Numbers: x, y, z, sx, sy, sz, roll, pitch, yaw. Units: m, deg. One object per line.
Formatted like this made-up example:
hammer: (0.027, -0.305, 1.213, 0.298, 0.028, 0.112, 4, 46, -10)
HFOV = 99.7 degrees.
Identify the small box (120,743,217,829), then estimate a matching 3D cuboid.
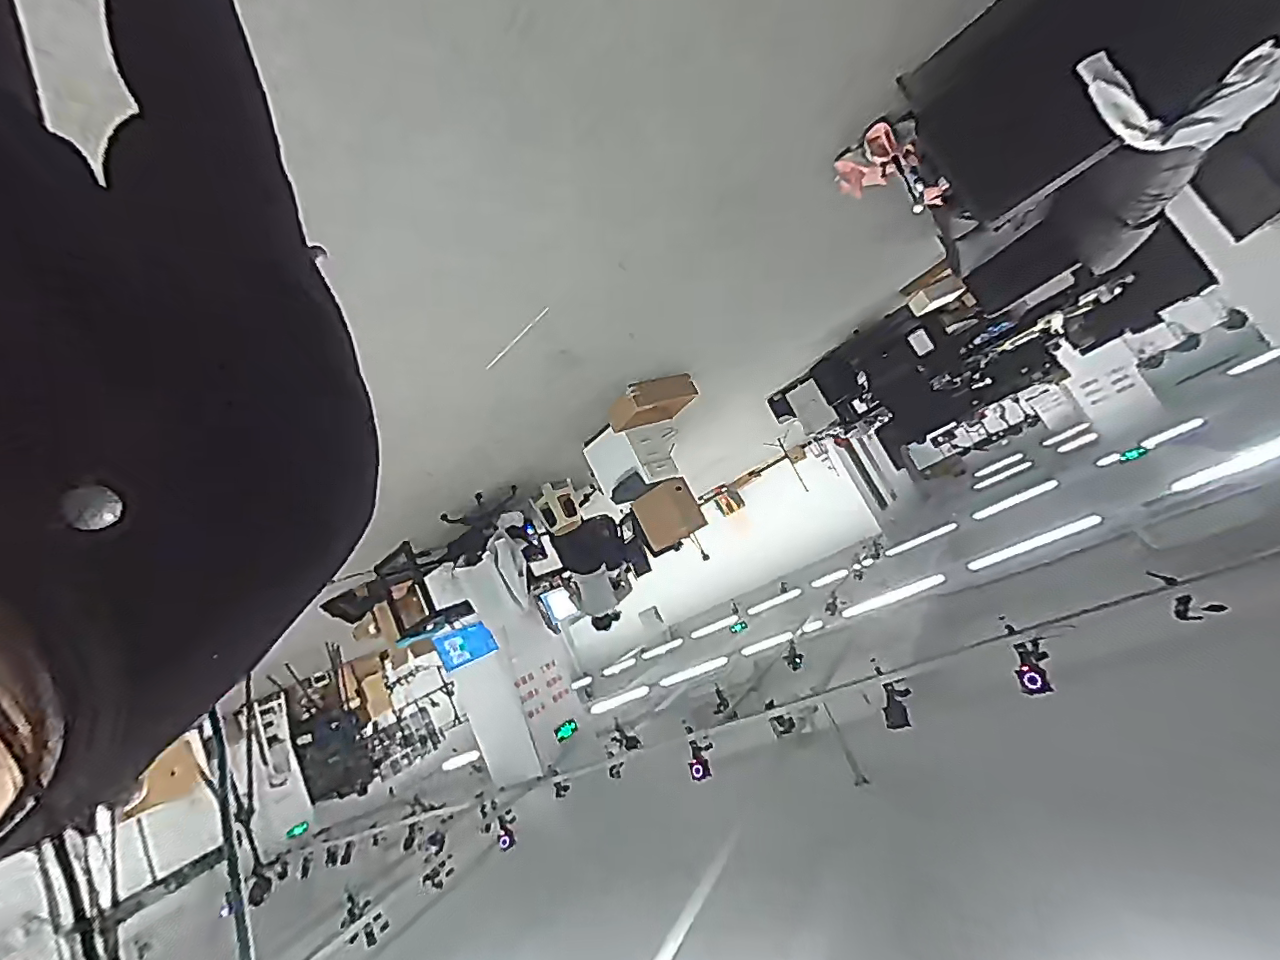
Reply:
small box: (-1.611, 1.036, 1.843, 0.168, 0.176, 0.179, -29, 170, 11)
